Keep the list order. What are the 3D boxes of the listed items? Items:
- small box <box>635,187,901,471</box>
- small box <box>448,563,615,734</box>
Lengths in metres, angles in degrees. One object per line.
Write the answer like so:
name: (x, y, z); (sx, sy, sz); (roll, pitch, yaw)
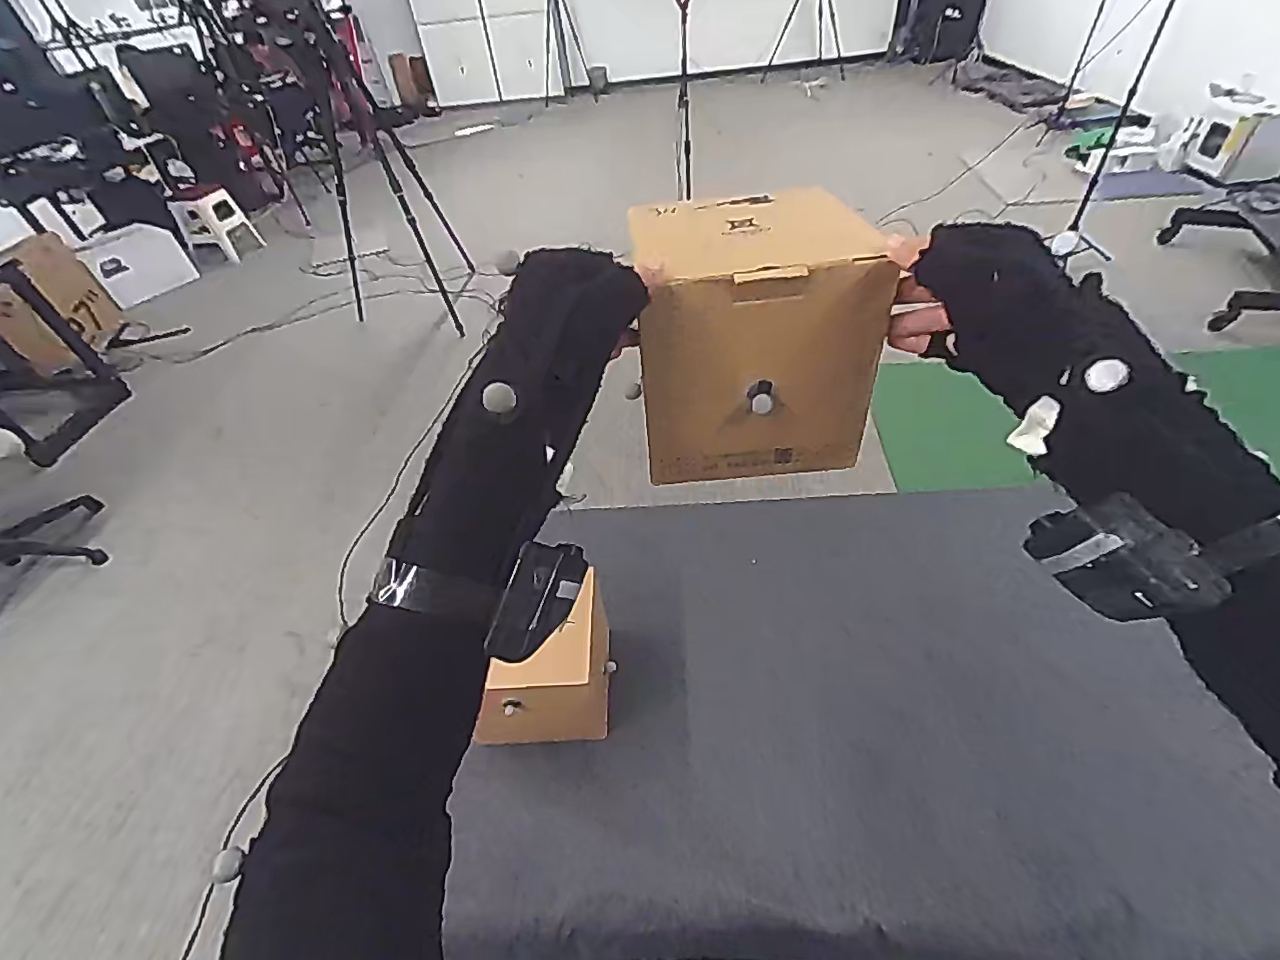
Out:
small box: (0.086, -0.119, 0.446); (0.168, 0.176, 0.179); (-5, 42, 2)
small box: (-0.133, 0.233, 0.736); (0.179, 0.176, 0.168); (-3, 45, 2)
